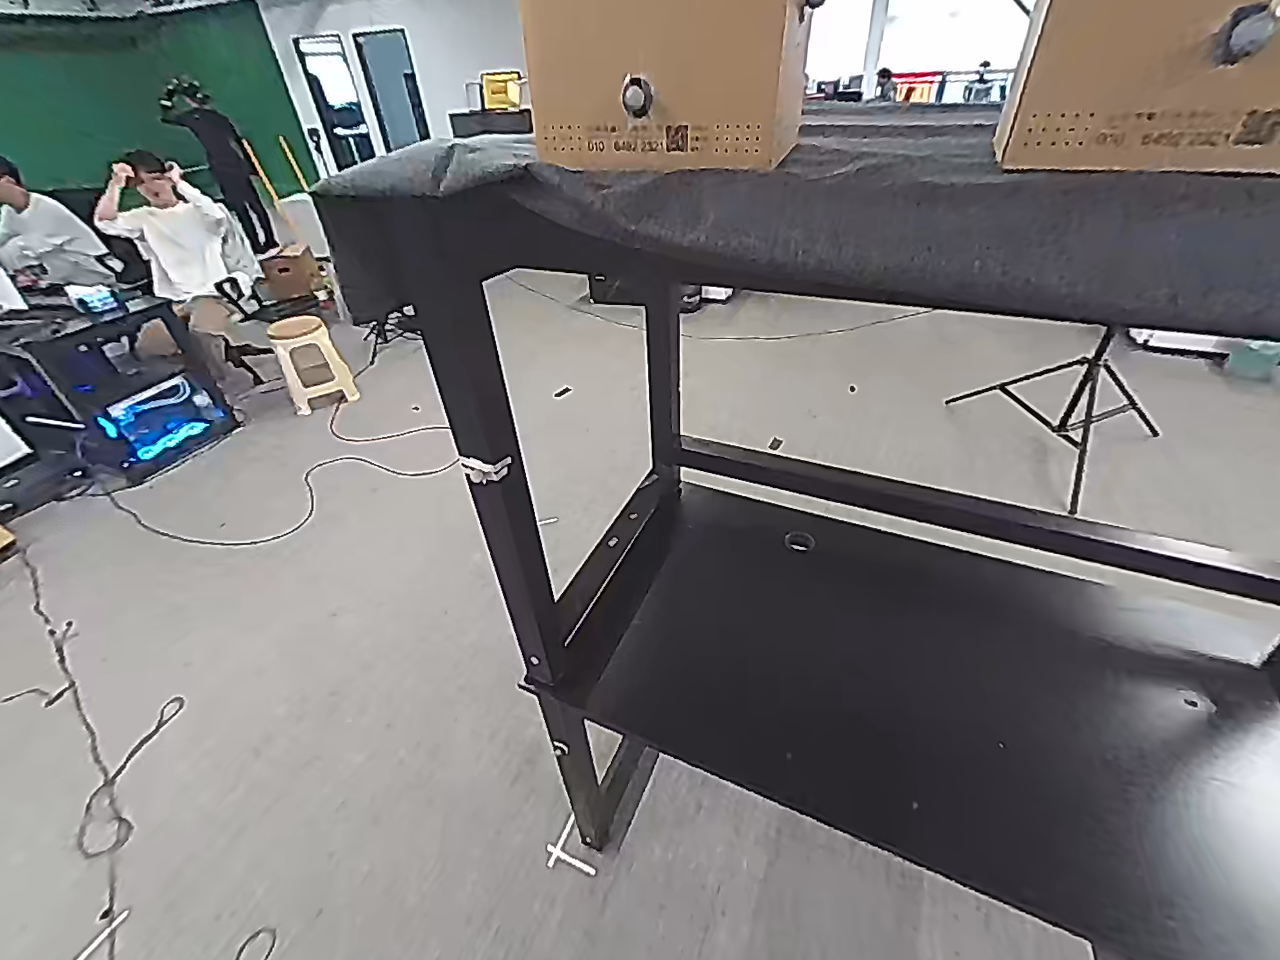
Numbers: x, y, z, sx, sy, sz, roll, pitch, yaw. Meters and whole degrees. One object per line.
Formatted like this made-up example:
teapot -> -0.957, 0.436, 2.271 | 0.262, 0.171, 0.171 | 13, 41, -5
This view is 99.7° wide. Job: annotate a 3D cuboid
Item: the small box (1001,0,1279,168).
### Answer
small box -> 0.316, -0.275, 0.292 | 0.168, 0.176, 0.179 | 14, 39, 23
